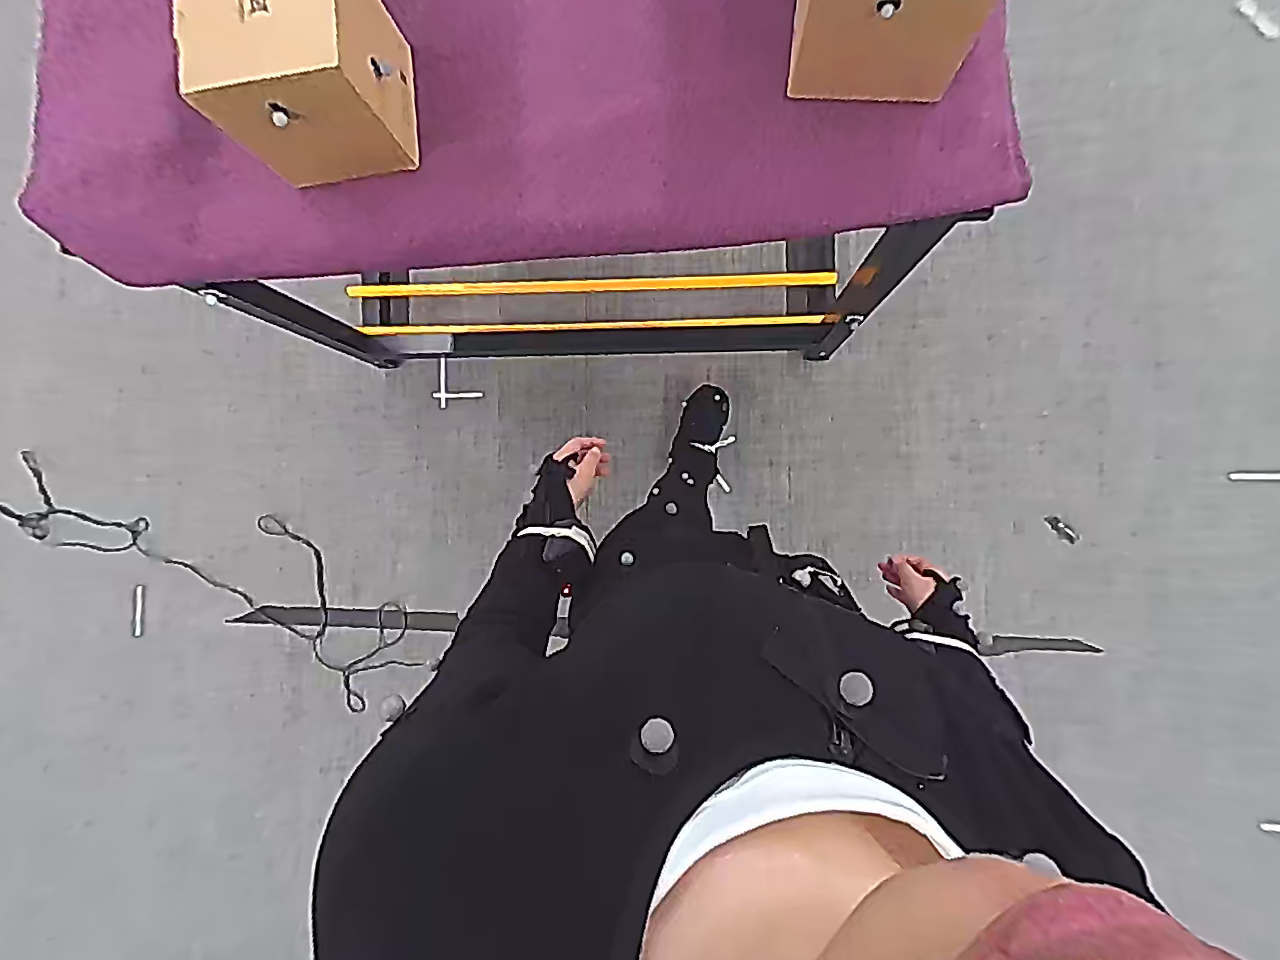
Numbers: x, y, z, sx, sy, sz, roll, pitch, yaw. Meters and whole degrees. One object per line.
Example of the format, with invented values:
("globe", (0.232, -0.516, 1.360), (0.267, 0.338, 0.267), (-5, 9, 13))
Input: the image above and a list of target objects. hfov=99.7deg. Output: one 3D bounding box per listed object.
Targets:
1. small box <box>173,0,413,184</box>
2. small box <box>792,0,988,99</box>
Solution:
("small box", (-0.378, -0.472, 0.620), (0.179, 0.176, 0.168), (-6, 87, 5))
("small box", (0.262, -0.533, 0.559), (0.179, 0.176, 0.168), (6, 88, 5))
